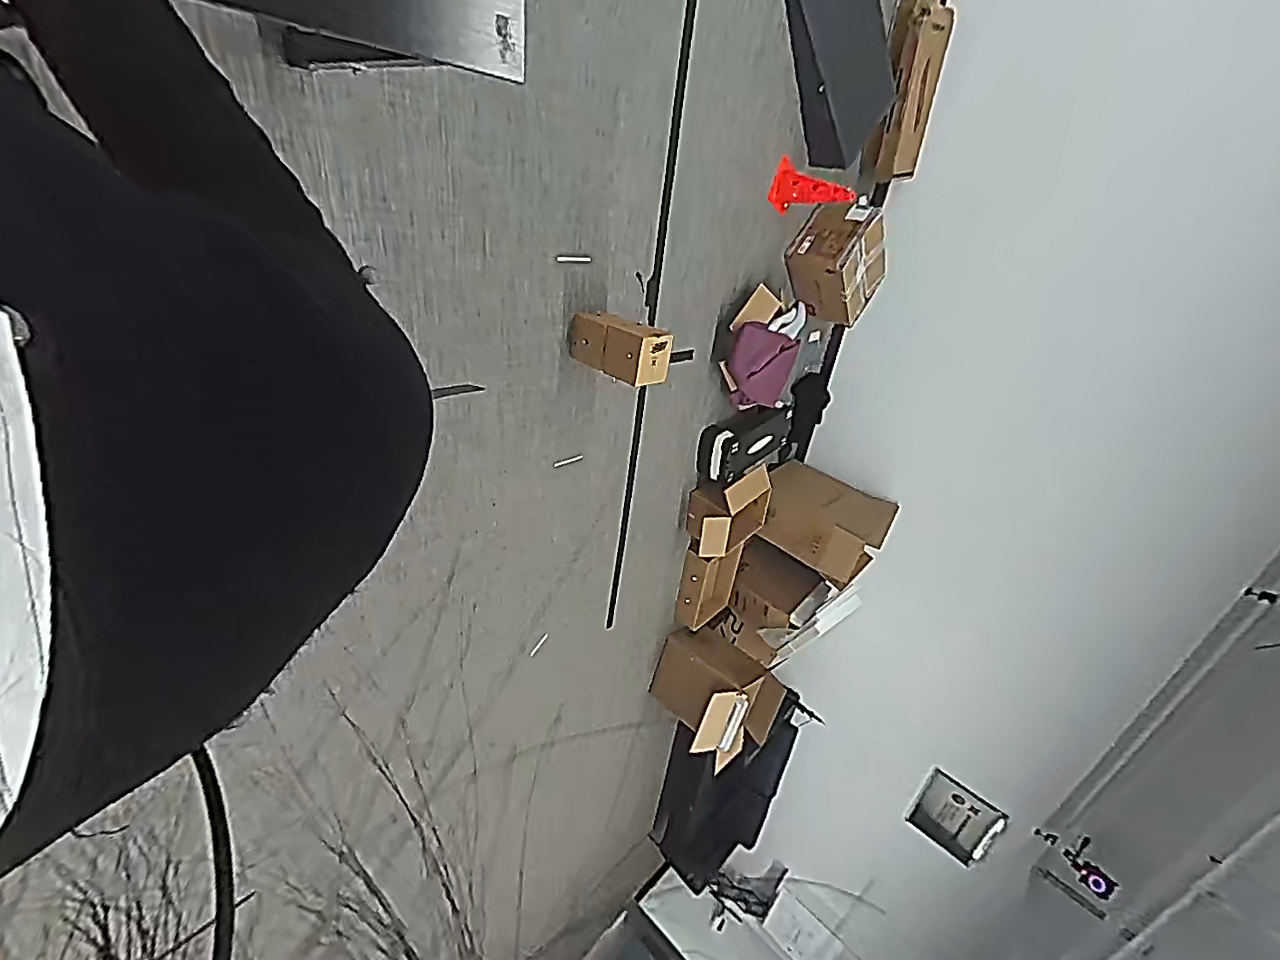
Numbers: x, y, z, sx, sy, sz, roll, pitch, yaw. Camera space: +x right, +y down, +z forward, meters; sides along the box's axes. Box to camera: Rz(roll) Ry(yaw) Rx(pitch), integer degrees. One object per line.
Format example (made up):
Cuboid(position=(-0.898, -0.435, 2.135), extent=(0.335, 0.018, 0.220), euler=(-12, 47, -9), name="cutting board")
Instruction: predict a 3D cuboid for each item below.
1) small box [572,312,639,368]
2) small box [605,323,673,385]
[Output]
Cuboid(position=(-0.133, -0.522, 2.003), extent=(0.179, 0.176, 0.168), euler=(-20, 129, -44), name="small box")
Cuboid(position=(-0.008, -0.453, 1.917), extent=(0.168, 0.176, 0.179), euler=(-21, 131, -44), name="small box")
